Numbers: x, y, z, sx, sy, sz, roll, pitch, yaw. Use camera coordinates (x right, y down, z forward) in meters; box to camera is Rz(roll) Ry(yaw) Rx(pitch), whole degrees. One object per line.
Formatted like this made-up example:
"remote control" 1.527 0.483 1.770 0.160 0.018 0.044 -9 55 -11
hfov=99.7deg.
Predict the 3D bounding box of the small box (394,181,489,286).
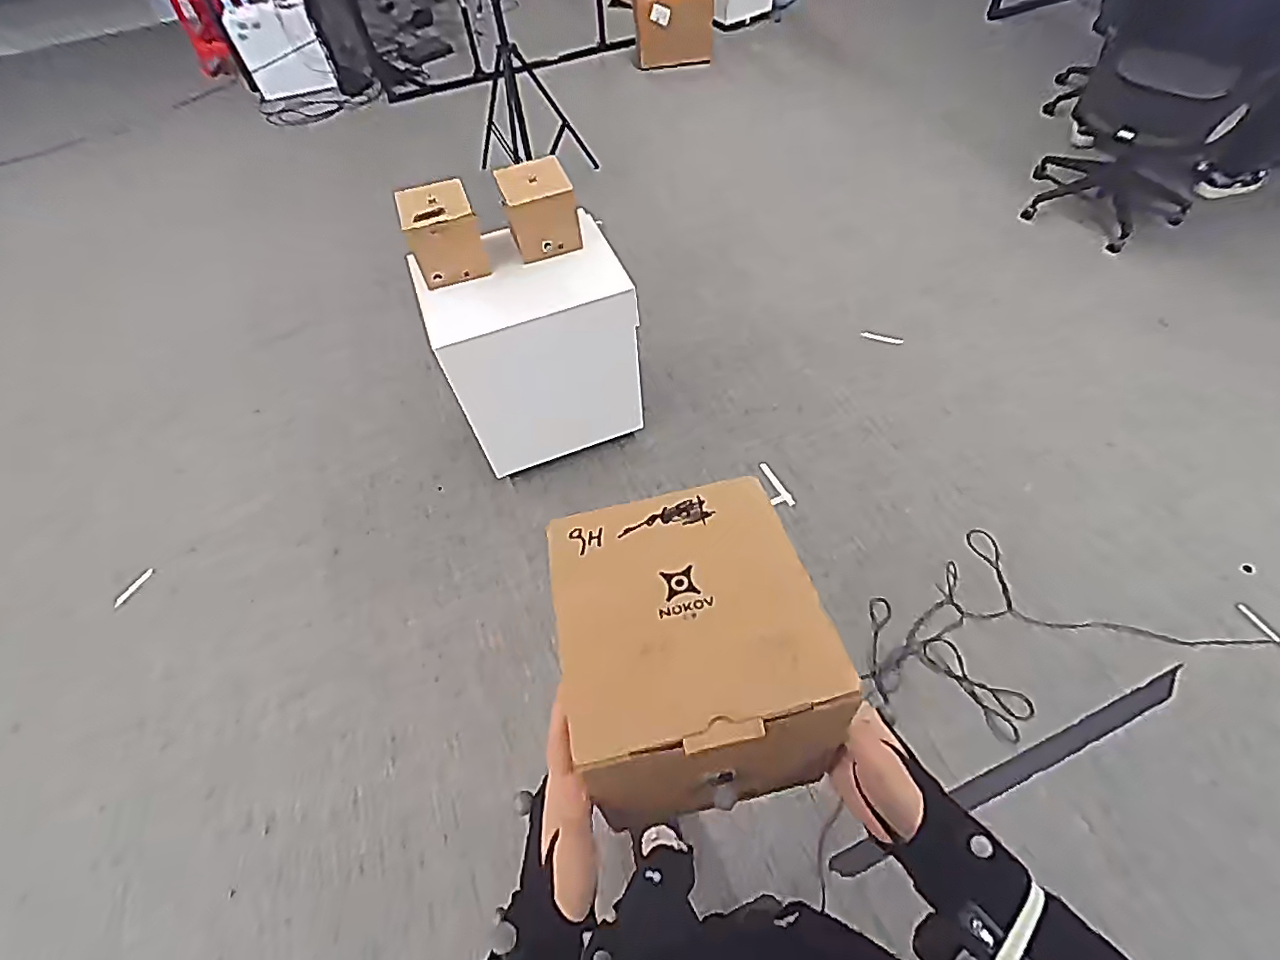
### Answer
"small box" -0.495 -0.612 1.363 0.168 0.176 0.179 -19 58 -9

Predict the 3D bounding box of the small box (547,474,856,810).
"small box" 0.034 0.127 0.407 0.168 0.176 0.179 -12 48 -4

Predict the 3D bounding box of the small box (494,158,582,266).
"small box" -0.262 -0.693 1.404 0.168 0.176 0.179 -21 60 -8
